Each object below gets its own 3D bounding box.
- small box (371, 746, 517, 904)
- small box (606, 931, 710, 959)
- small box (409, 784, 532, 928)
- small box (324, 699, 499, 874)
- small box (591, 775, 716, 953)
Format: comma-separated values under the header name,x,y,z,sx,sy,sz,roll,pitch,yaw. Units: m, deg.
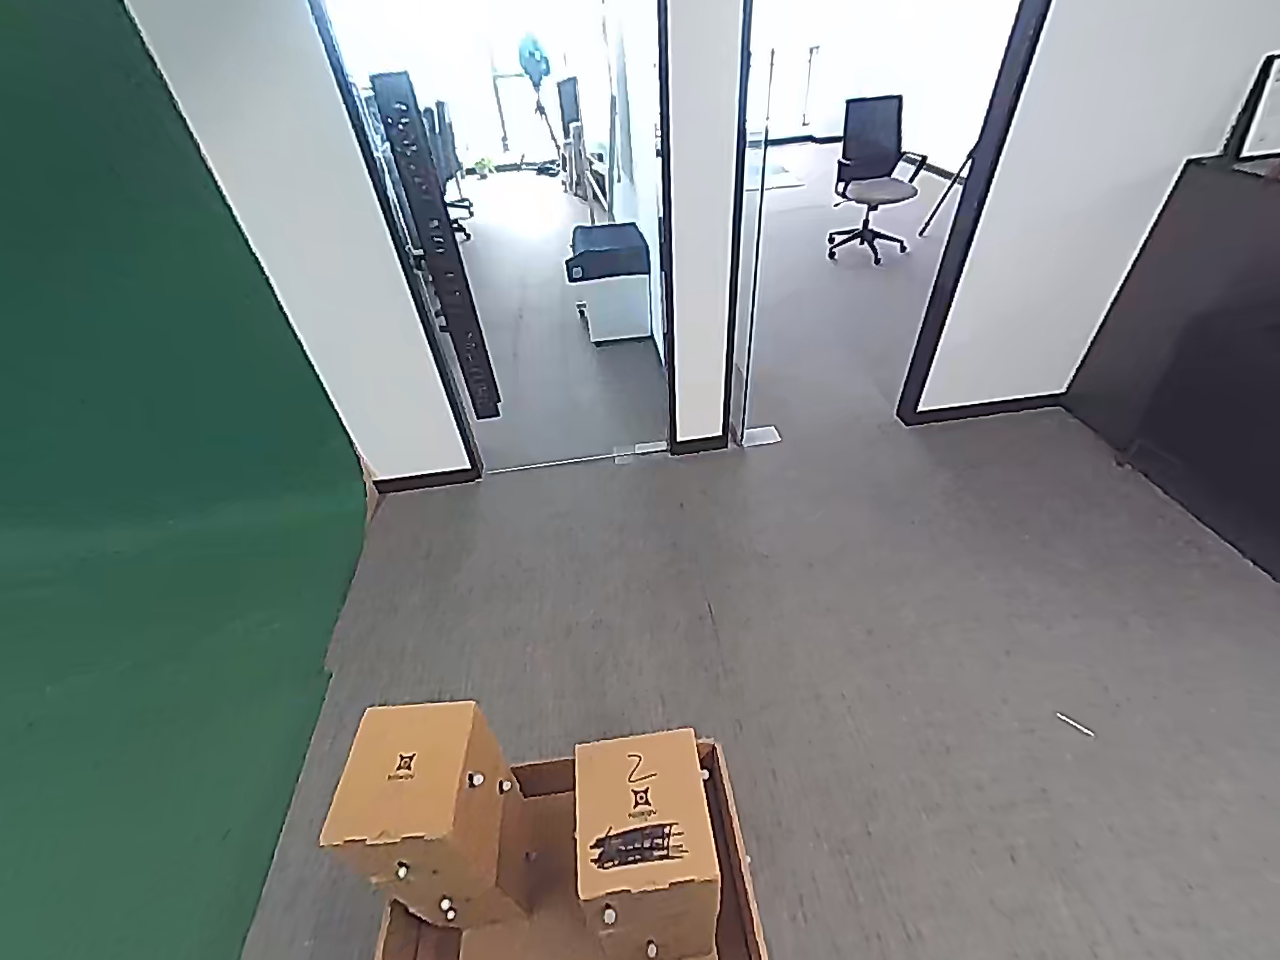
name,x,y,z,sx,sy,sz,roll,pitch,yaw
small box,-0.305,0.565,0.889,0.168,0.176,0.179,-5,41,1
small box,0.026,0.712,0.942,0.168,0.176,0.179,-7,40,-3
small box,-0.298,0.690,0.995,0.168,0.176,0.179,-5,40,-1
small box,-0.311,0.443,0.783,0.168,0.176,0.179,-3,42,1
small box,0.016,0.590,0.834,0.168,0.176,0.179,-7,41,-3
